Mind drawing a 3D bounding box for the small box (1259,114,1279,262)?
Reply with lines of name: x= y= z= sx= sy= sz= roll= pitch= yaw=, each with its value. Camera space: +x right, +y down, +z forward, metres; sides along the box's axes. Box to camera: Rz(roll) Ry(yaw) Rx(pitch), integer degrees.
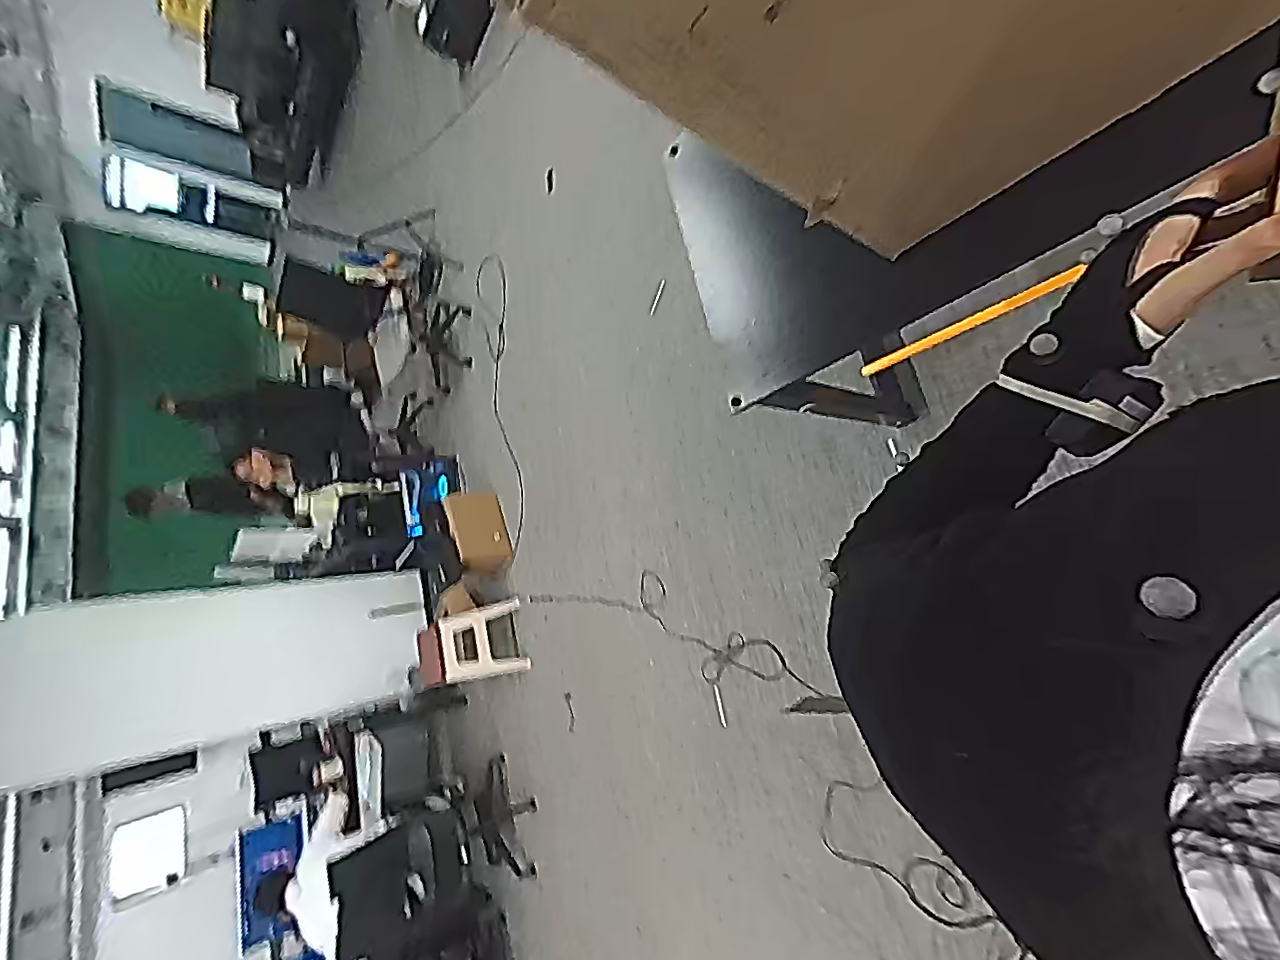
small box: x=0.470 y=-0.228 z=0.287 sx=0.168 sy=0.176 sz=0.179 roll=11 pitch=104 yaw=45
